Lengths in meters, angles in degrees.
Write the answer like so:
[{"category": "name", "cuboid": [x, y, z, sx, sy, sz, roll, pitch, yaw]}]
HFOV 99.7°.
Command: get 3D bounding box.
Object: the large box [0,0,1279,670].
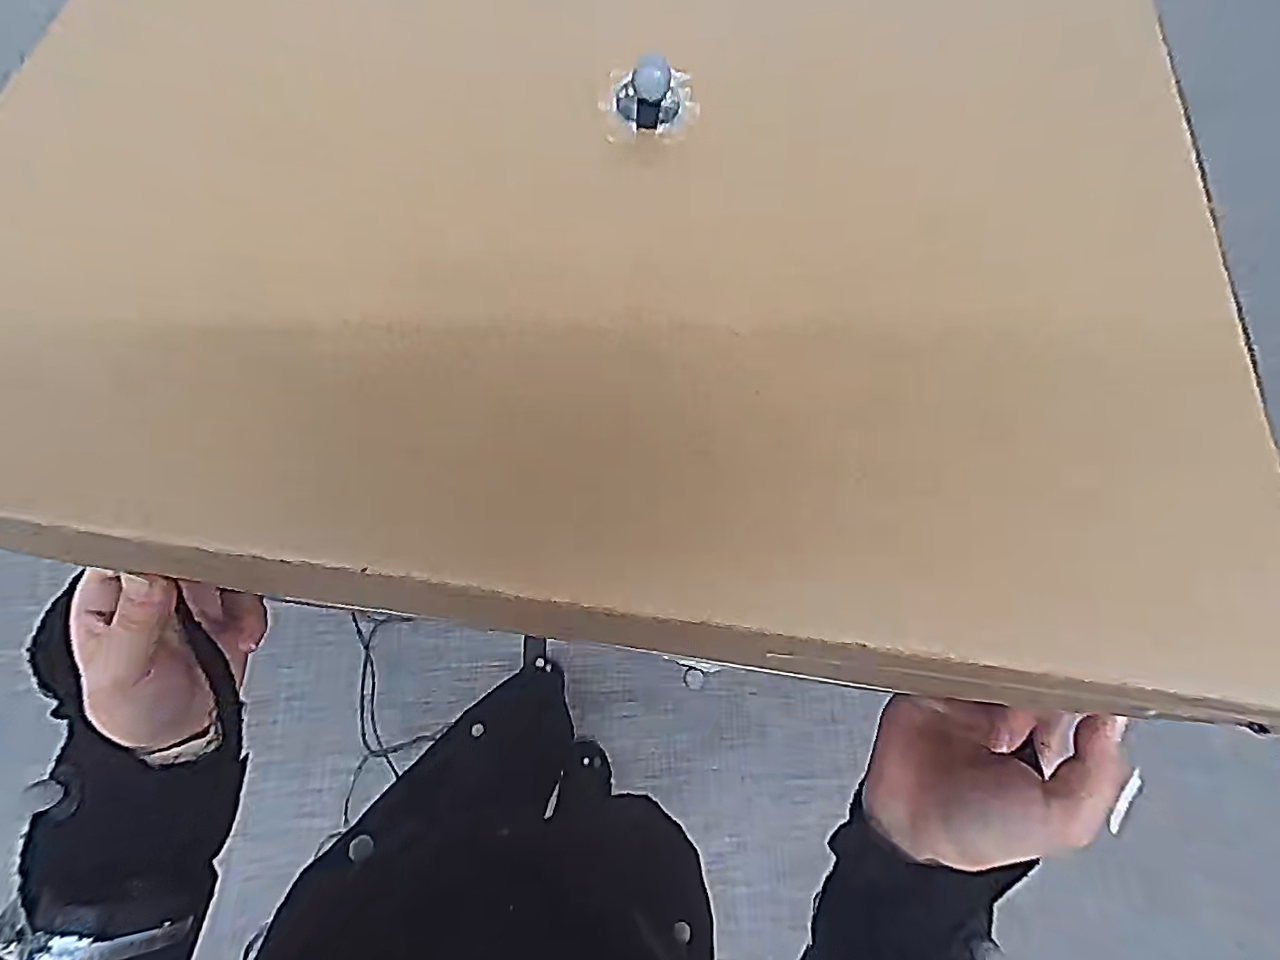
[{"category": "large box", "cuboid": [-0.008, -0.079, 0.323, 0.408, 0.320, 0.320, 8, 73, 0]}]
